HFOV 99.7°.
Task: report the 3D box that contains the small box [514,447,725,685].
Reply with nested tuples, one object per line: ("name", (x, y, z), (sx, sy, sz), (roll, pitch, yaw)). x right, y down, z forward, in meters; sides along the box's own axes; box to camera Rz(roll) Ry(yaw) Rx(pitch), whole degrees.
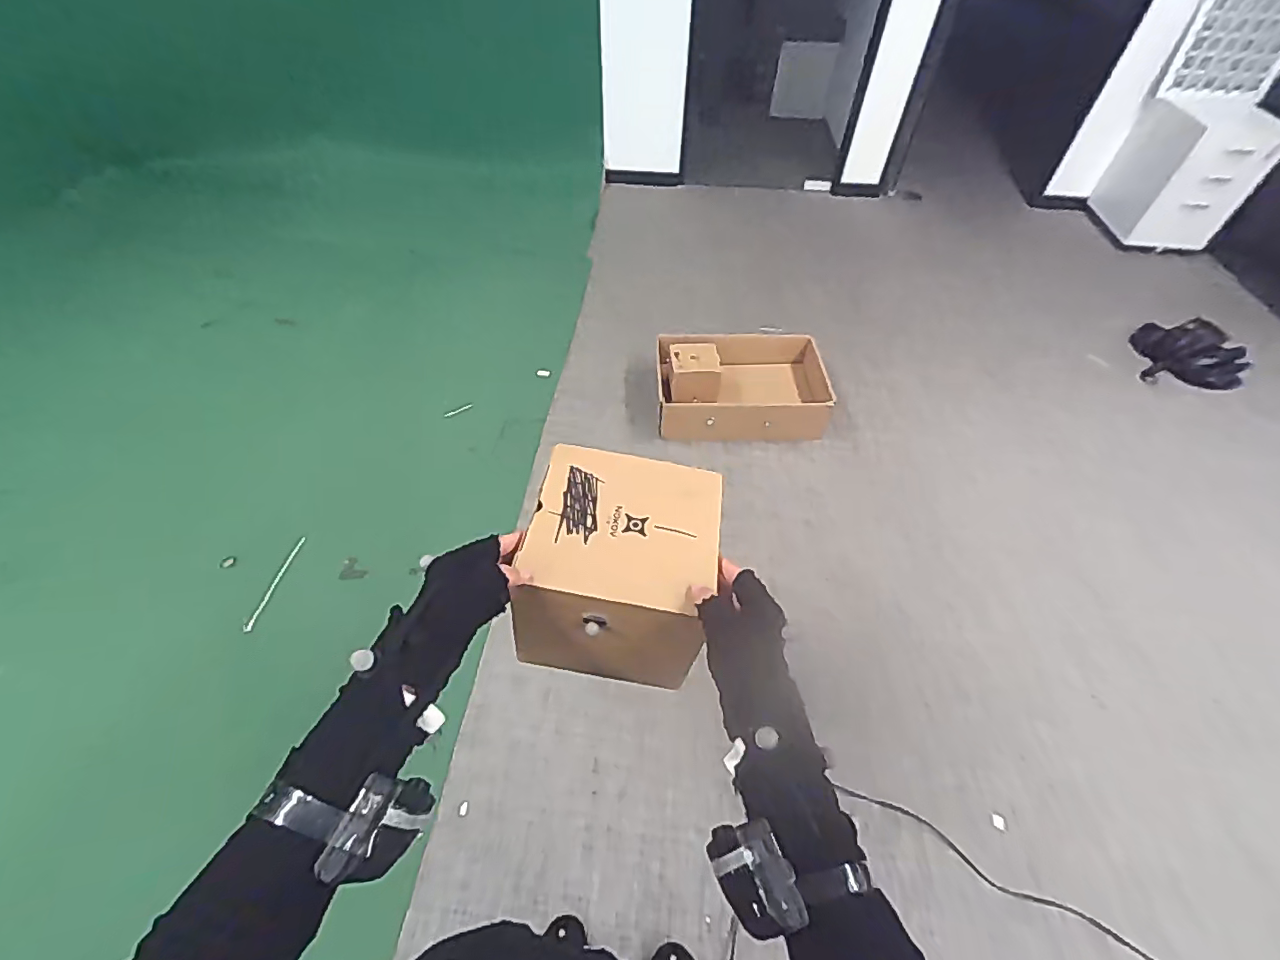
("small box", (-0.020, 0.093, 0.559), (0.179, 0.176, 0.168), (11, 50, -1))

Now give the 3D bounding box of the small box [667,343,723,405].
("small box", (0.200, -0.394, 2.025), (0.179, 0.176, 0.168), (-1, 50, -4))
